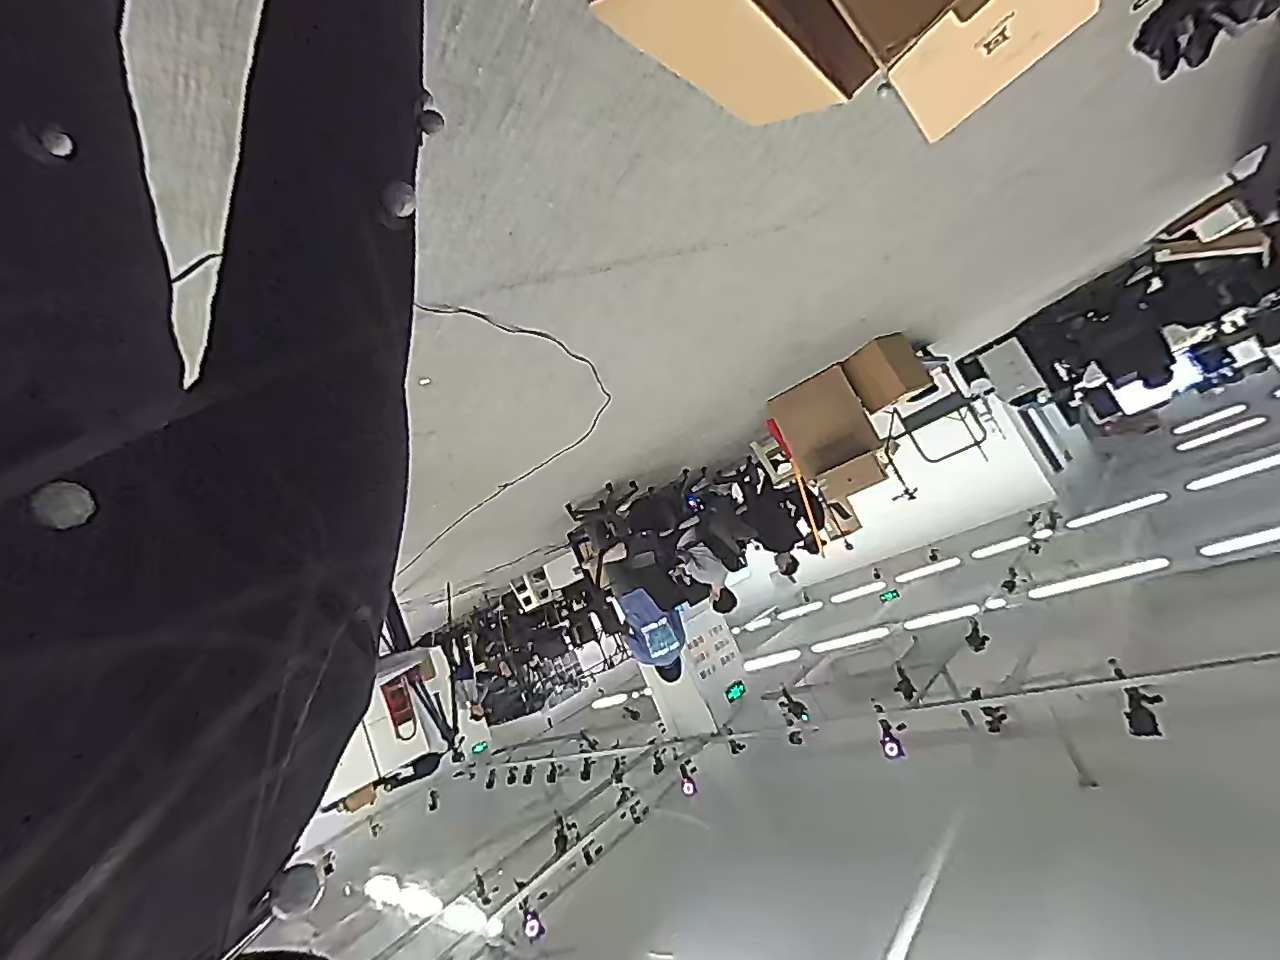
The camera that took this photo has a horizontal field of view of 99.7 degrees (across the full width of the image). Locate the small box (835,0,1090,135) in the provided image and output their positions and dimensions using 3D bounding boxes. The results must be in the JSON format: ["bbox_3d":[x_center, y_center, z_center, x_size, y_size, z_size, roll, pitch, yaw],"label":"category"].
[{"bbox_3d":[0.300,-0.497,0.529,0.179,0.176,0.168,-11,163,-48],"label":"small box"}]
